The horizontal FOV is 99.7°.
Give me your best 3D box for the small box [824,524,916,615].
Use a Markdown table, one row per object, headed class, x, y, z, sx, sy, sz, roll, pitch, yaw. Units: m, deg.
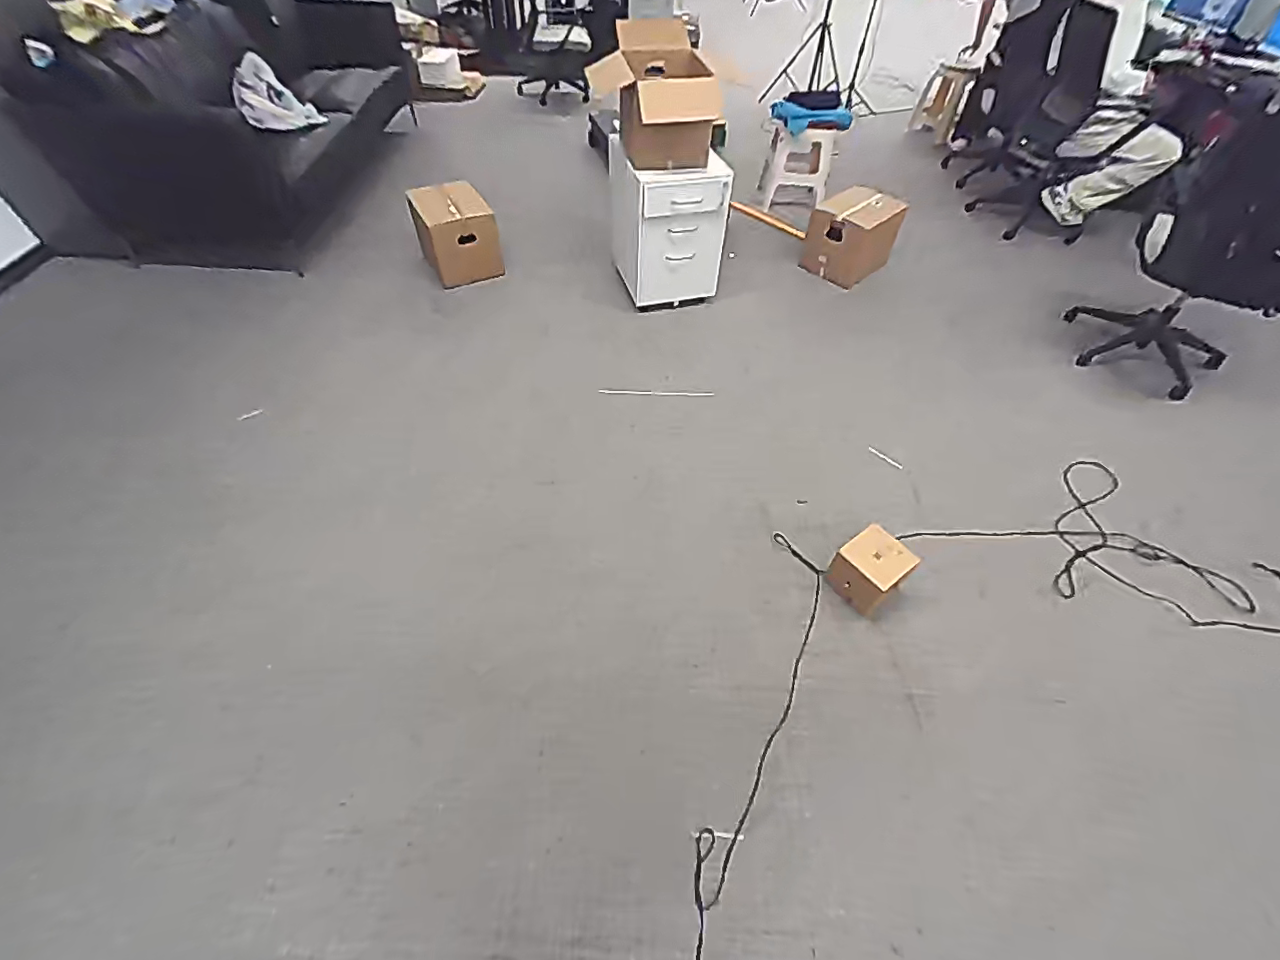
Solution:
| class | x | y | z | sx | sy | sz | roll | pitch | yaw |
| --- | --- | --- | --- | --- | --- | --- | --- | --- | --- |
| small box | 0.675 | 0.271 | 1.611 | 0.179 | 0.176 | 0.168 | -29 | 57 | -24 |
